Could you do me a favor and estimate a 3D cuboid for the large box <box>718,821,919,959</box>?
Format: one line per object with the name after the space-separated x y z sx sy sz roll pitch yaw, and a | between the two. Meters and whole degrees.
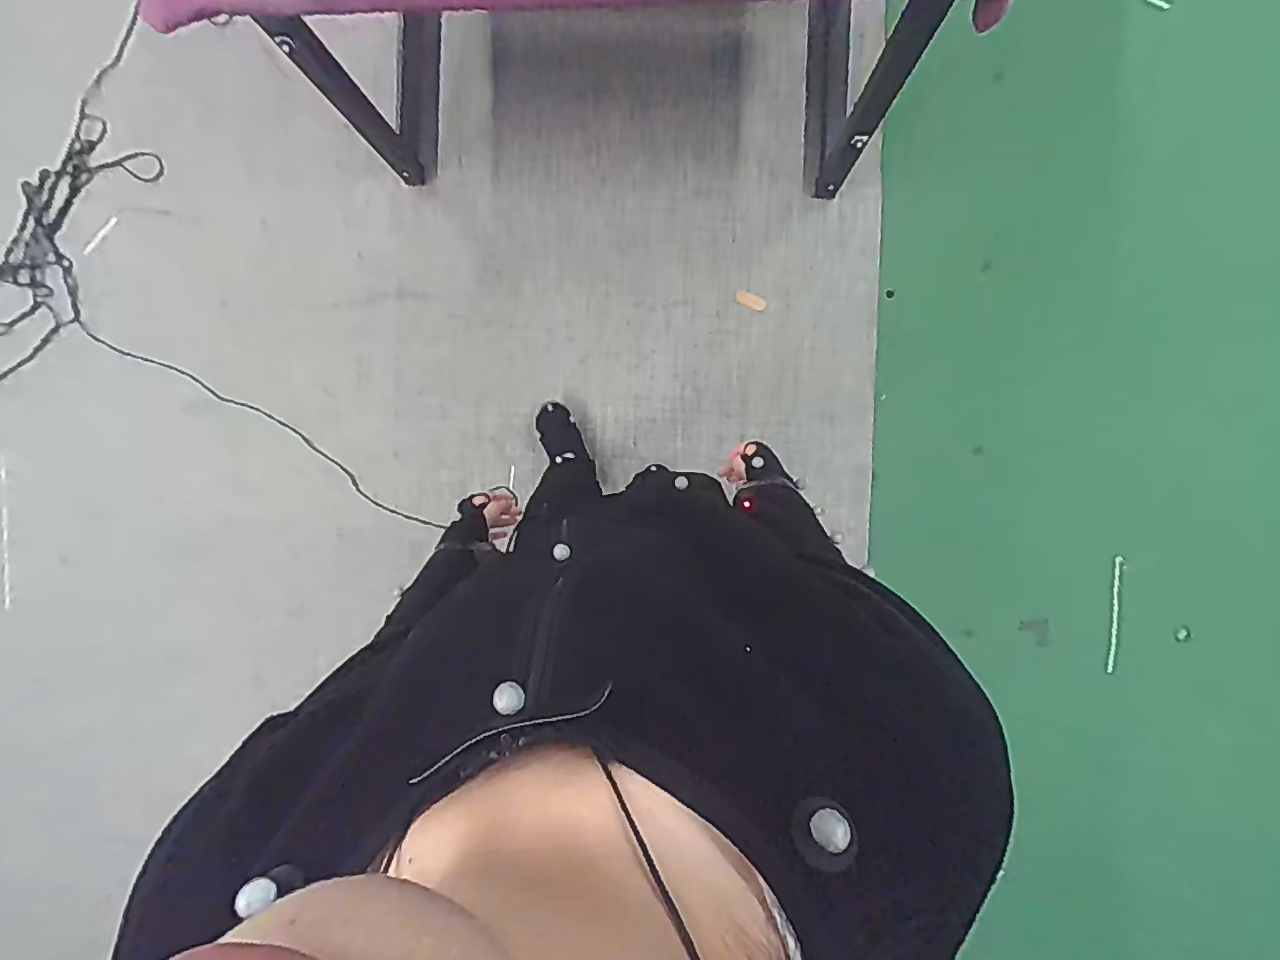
0.440 1.136 1.360 0.408 0.320 0.320 -13 92 2 | large box
